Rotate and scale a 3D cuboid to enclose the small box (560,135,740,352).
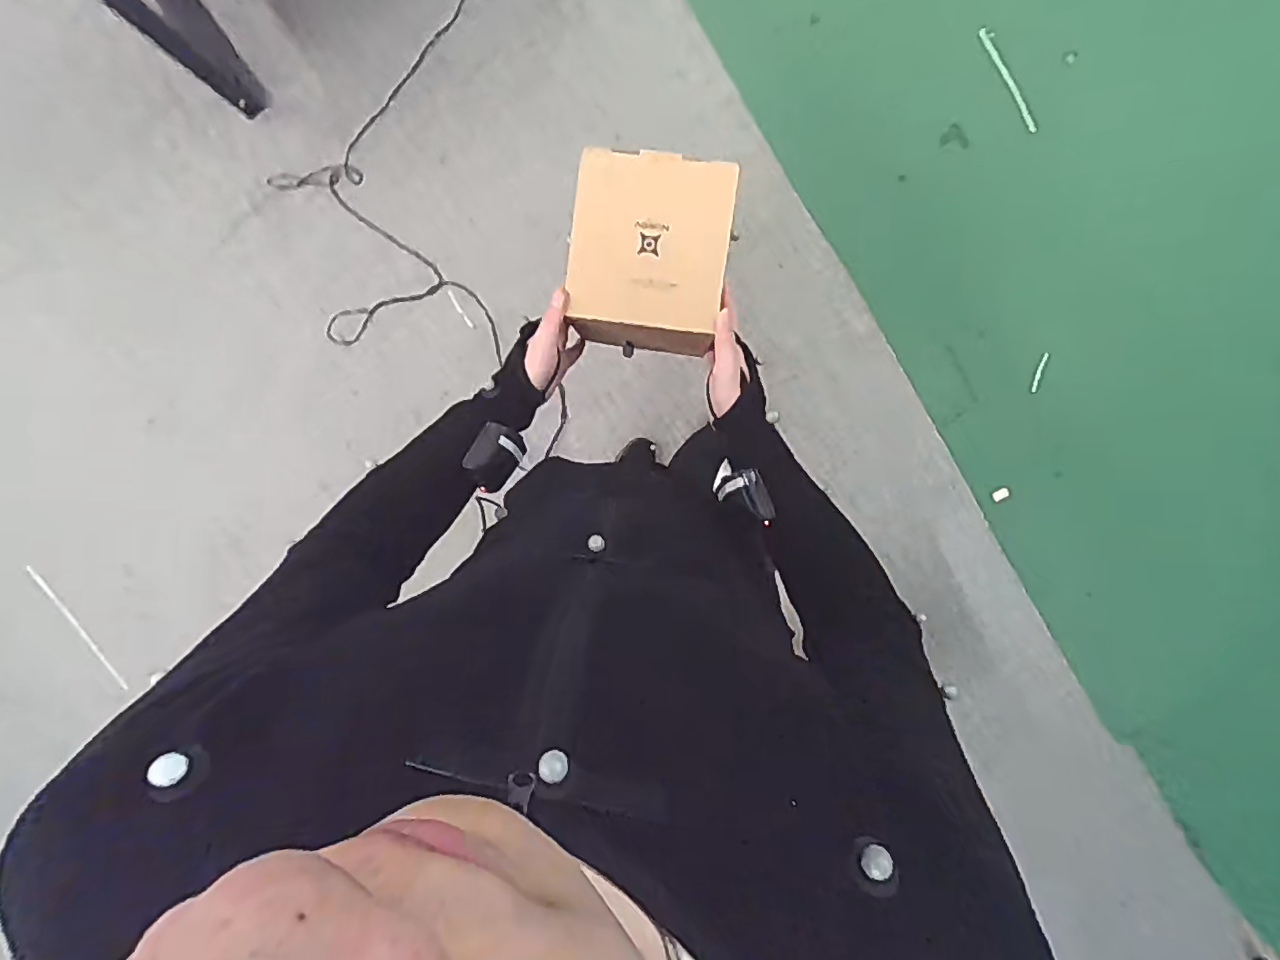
[{"bbox_3d":[0.011,-0.257,0.627,0.168,0.176,0.179,7,95,2],"label":"small box"}]
